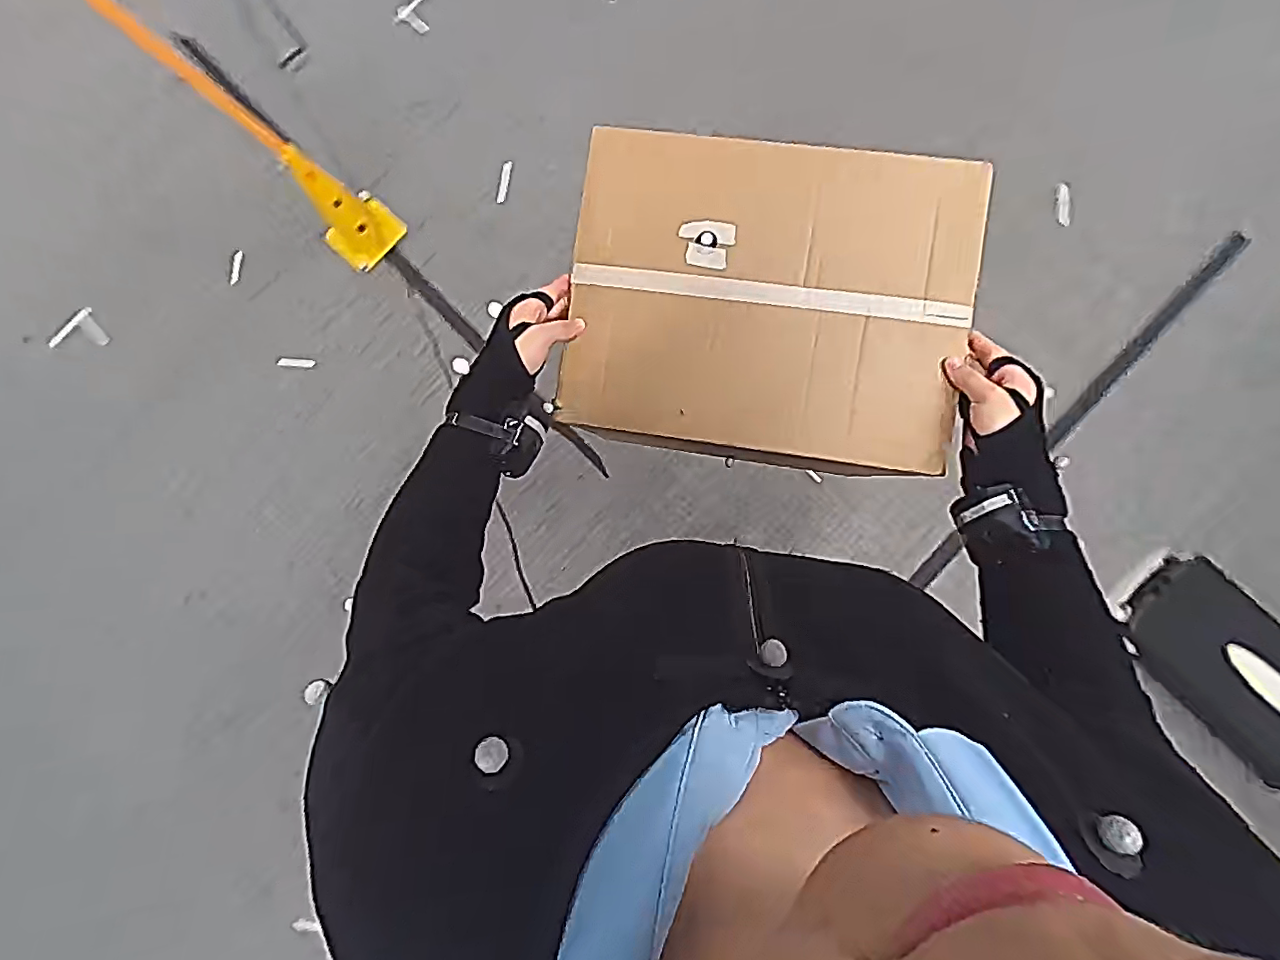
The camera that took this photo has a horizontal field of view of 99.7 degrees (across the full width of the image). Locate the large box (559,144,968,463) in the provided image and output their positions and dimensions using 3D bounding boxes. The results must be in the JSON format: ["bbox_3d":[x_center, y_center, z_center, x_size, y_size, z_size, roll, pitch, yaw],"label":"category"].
[{"bbox_3d":[0.138,-0.193,0.715,0.408,0.320,0.320,7,90,6],"label":"large box"}]
